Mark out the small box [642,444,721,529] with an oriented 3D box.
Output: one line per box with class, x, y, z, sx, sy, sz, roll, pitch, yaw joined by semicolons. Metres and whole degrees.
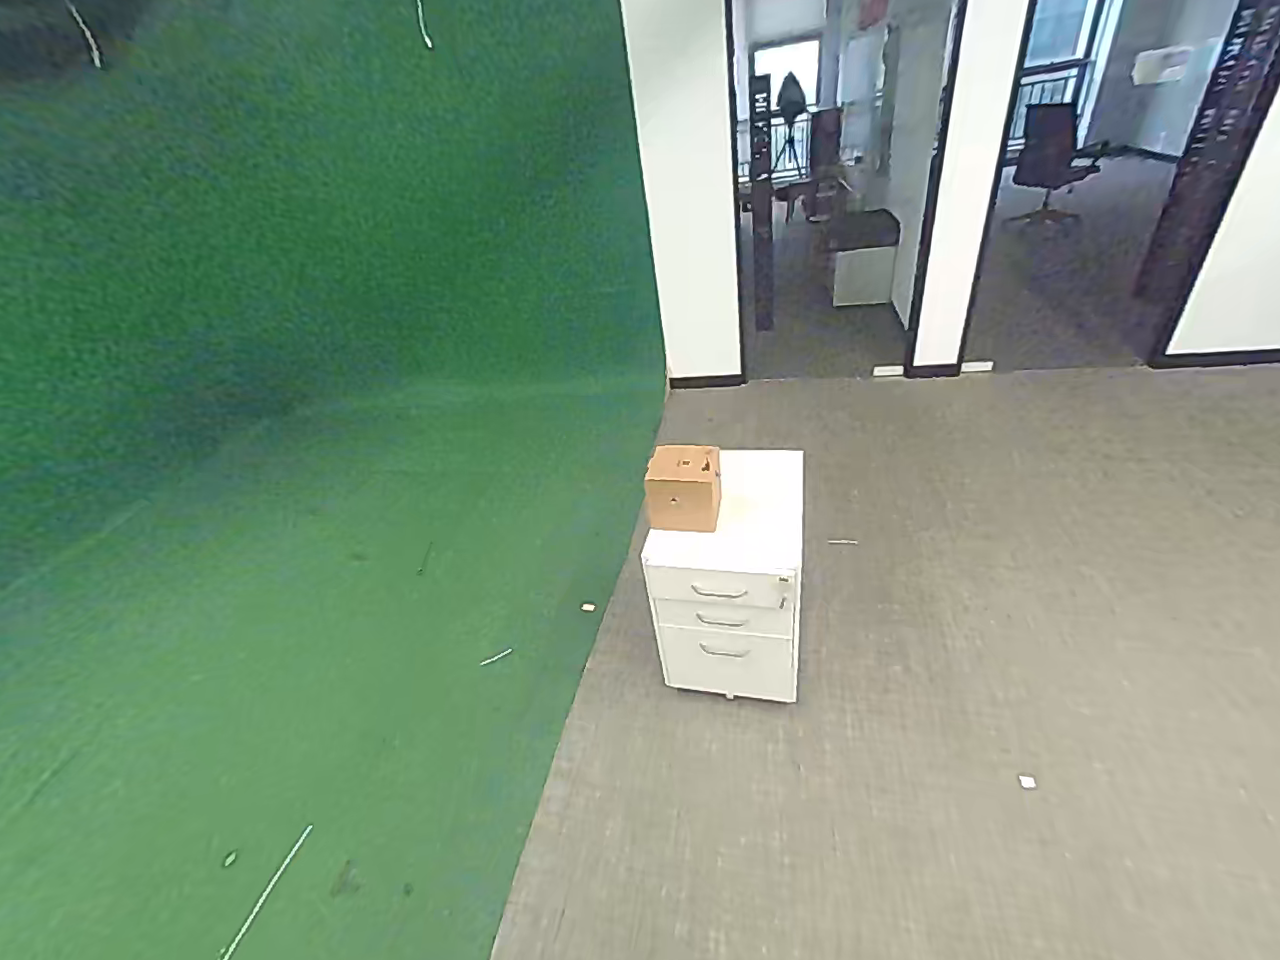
small box;0.118;0.017;1.448;0.179;0.176;0.168;1;37;15
